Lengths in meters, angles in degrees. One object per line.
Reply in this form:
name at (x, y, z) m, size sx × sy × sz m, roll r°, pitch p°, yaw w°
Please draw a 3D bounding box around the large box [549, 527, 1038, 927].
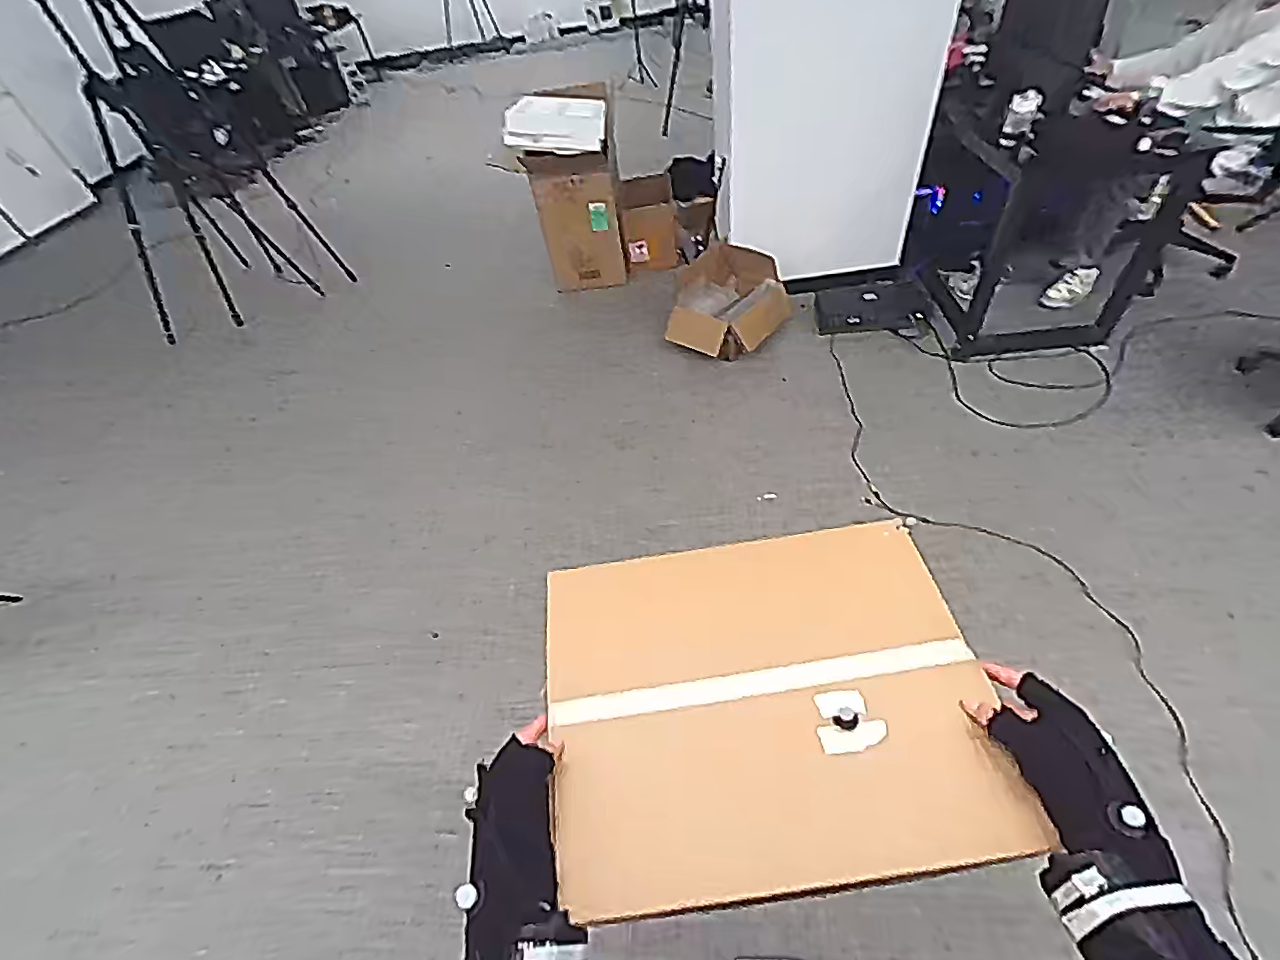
large box at (0.123, 0.297, 0.641) m, size 0.408 × 0.320 × 0.320 m, roll -9°, pitch 50°, yaw 0°
